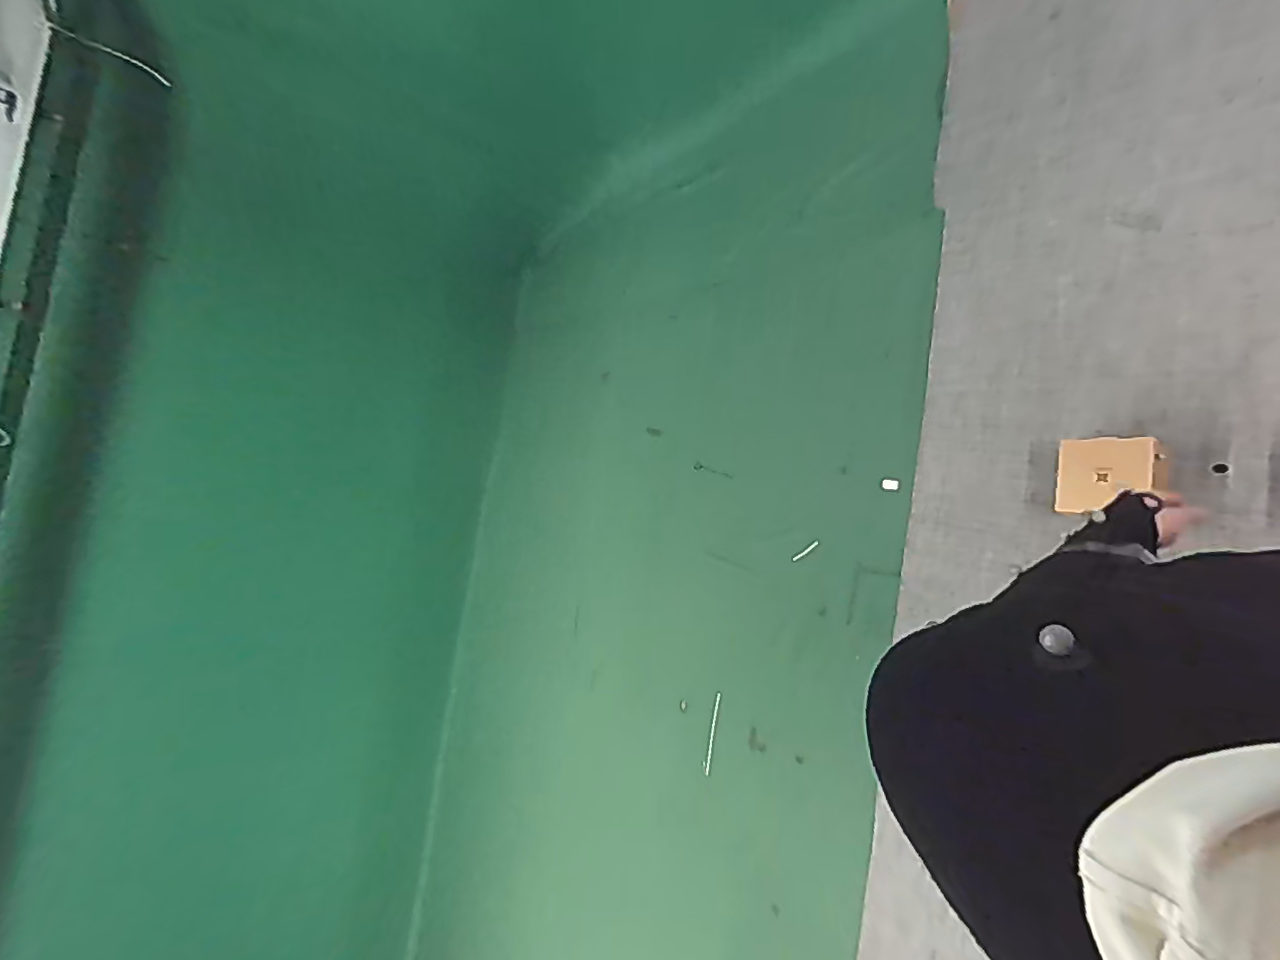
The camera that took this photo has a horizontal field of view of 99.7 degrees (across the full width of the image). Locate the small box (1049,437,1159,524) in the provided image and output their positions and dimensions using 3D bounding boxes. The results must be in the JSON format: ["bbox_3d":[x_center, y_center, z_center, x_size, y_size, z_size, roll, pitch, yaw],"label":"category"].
[{"bbox_3d":[1.077,0.005,1.252,0.168,0.176,0.179,1,81,50],"label":"small box"}]
